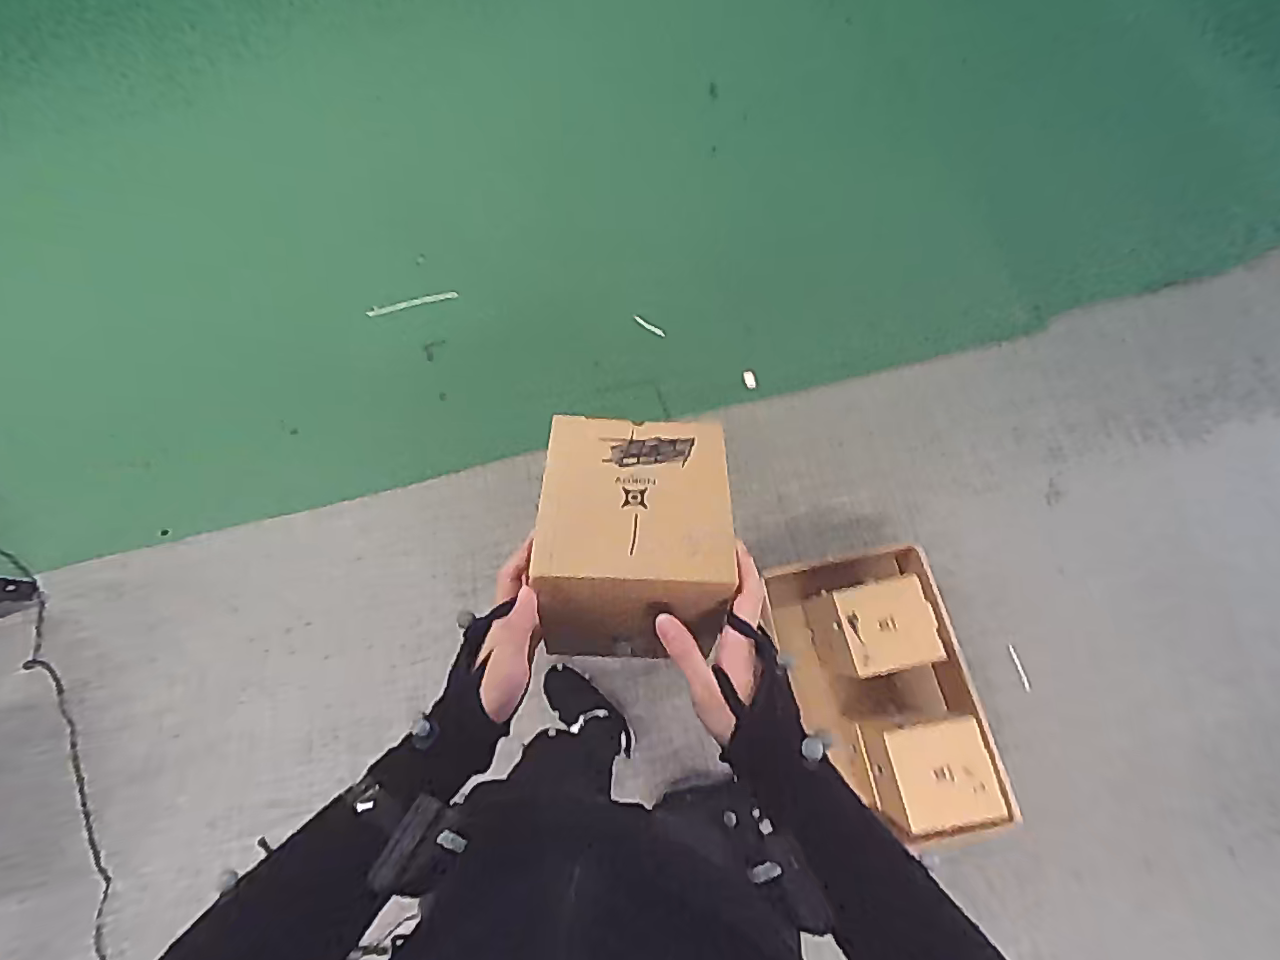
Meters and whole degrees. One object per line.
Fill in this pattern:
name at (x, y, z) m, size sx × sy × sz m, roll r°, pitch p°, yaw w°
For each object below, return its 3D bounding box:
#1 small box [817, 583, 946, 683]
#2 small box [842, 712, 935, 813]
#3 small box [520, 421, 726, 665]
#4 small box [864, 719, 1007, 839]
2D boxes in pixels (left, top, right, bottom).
small box at (0.495, 0.321, 1.138) m, size 0.179 × 0.176 × 0.168 m, roll -13°, pitch 71°, yaw 1°
small box at (0.567, 0.624, 1.210) m, size 0.179 × 0.176 × 0.168 m, roll -11°, pitch 71°, yaw 2°
small box at (-0.014, 0.064, 0.534) m, size 0.168 × 0.176 × 0.179 m, roll 2°, pitch 52°, yaw -1°
small box at (0.556, 0.572, 1.053) m, size 0.179 × 0.176 × 0.168 m, roll -10°, pitch 71°, yaw 2°
